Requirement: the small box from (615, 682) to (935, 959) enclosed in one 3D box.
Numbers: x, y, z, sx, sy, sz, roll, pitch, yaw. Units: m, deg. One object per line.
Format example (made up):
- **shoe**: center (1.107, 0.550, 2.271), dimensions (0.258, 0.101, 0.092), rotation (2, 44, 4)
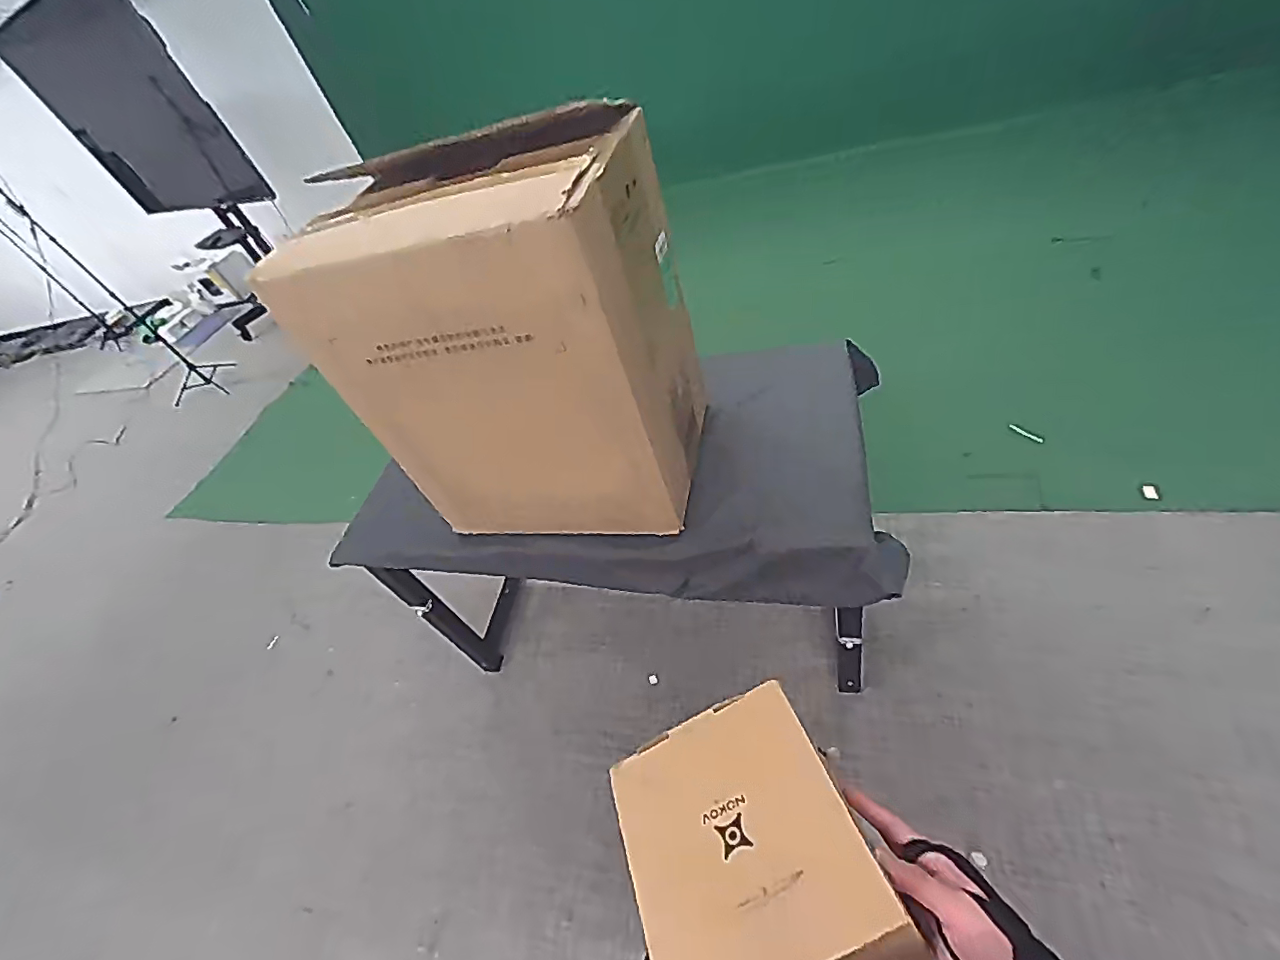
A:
- **small box**: center (0.104, 0.308, 0.436), dimensions (0.168, 0.176, 0.179), rotation (-31, 37, 2)
